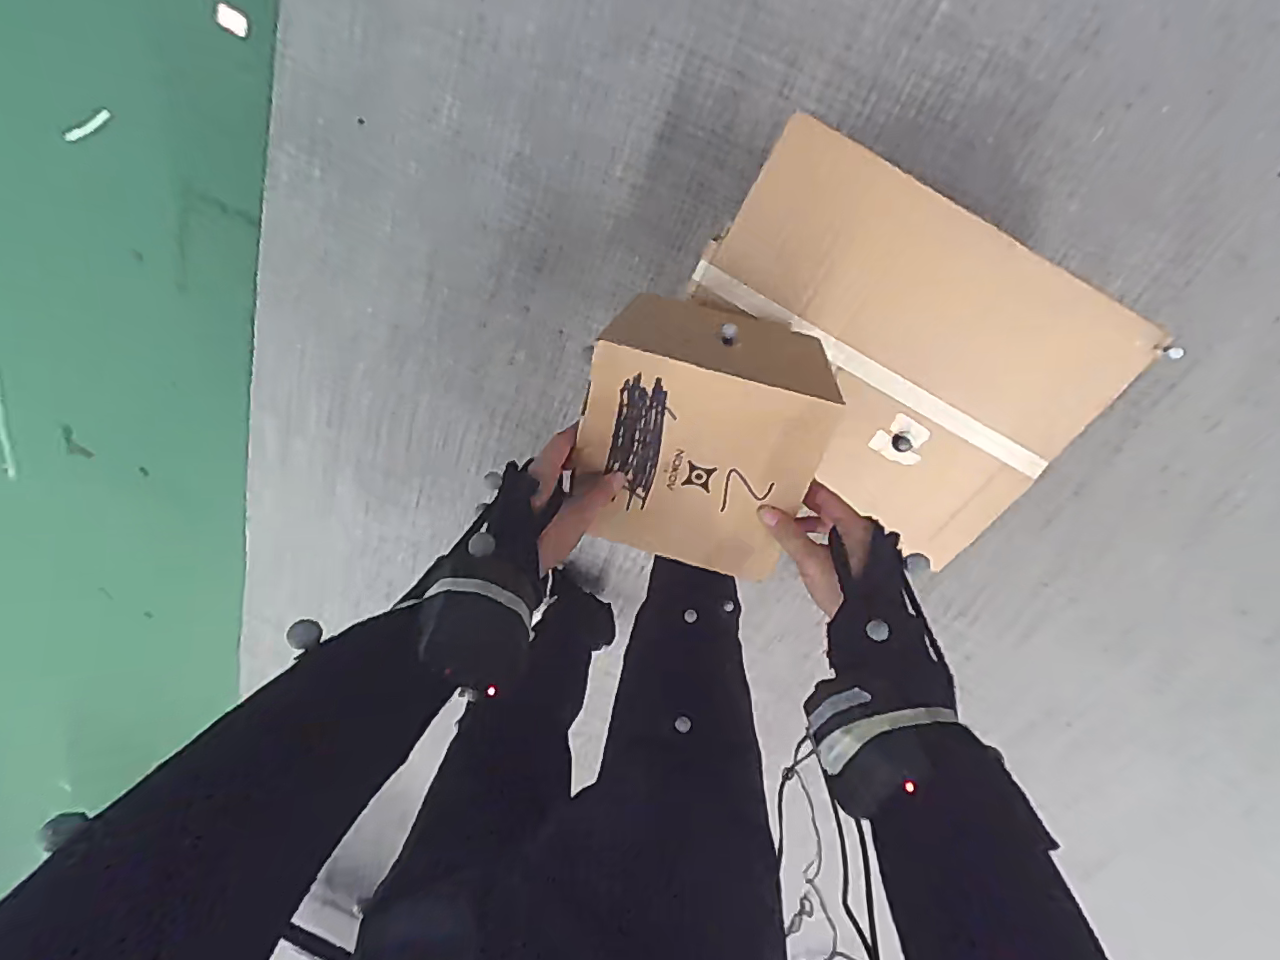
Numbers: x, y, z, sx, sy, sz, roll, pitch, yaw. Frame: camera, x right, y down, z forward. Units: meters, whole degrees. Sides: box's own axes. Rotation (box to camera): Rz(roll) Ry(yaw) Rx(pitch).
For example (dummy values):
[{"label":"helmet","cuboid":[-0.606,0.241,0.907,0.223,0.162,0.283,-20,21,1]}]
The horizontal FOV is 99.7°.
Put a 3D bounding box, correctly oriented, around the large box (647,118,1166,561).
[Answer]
[{"label":"large box","cuboid":[0.270,-0.175,0.688,0.408,0.320,0.320,29,118,-3]}]
